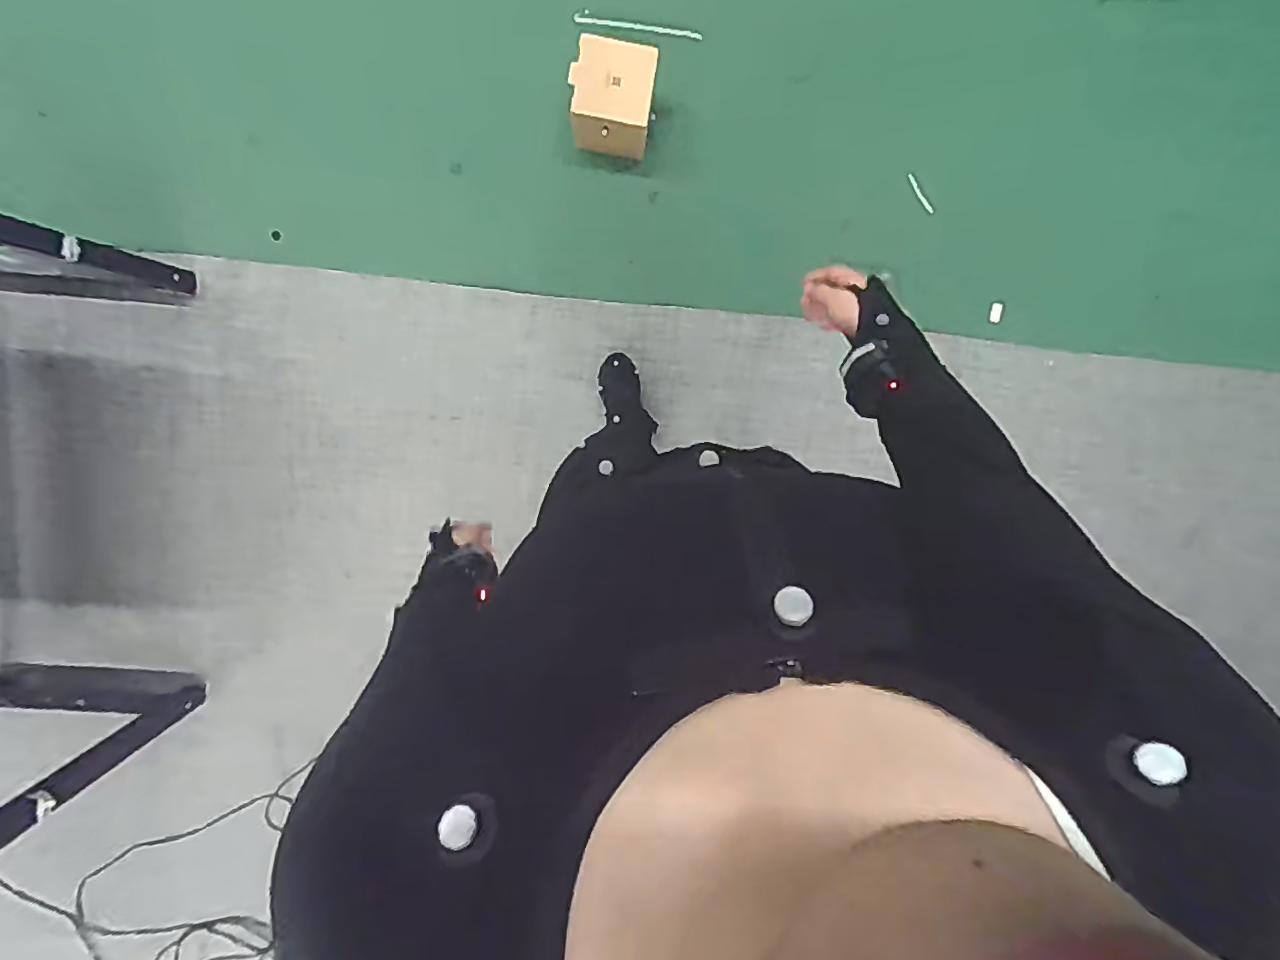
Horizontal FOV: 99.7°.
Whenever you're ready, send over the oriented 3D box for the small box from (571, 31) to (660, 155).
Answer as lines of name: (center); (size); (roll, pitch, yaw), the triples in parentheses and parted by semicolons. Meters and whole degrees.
small box: (-0.058, -0.891, 1.263); (0.179, 0.176, 0.168); (9, 98, -3)
